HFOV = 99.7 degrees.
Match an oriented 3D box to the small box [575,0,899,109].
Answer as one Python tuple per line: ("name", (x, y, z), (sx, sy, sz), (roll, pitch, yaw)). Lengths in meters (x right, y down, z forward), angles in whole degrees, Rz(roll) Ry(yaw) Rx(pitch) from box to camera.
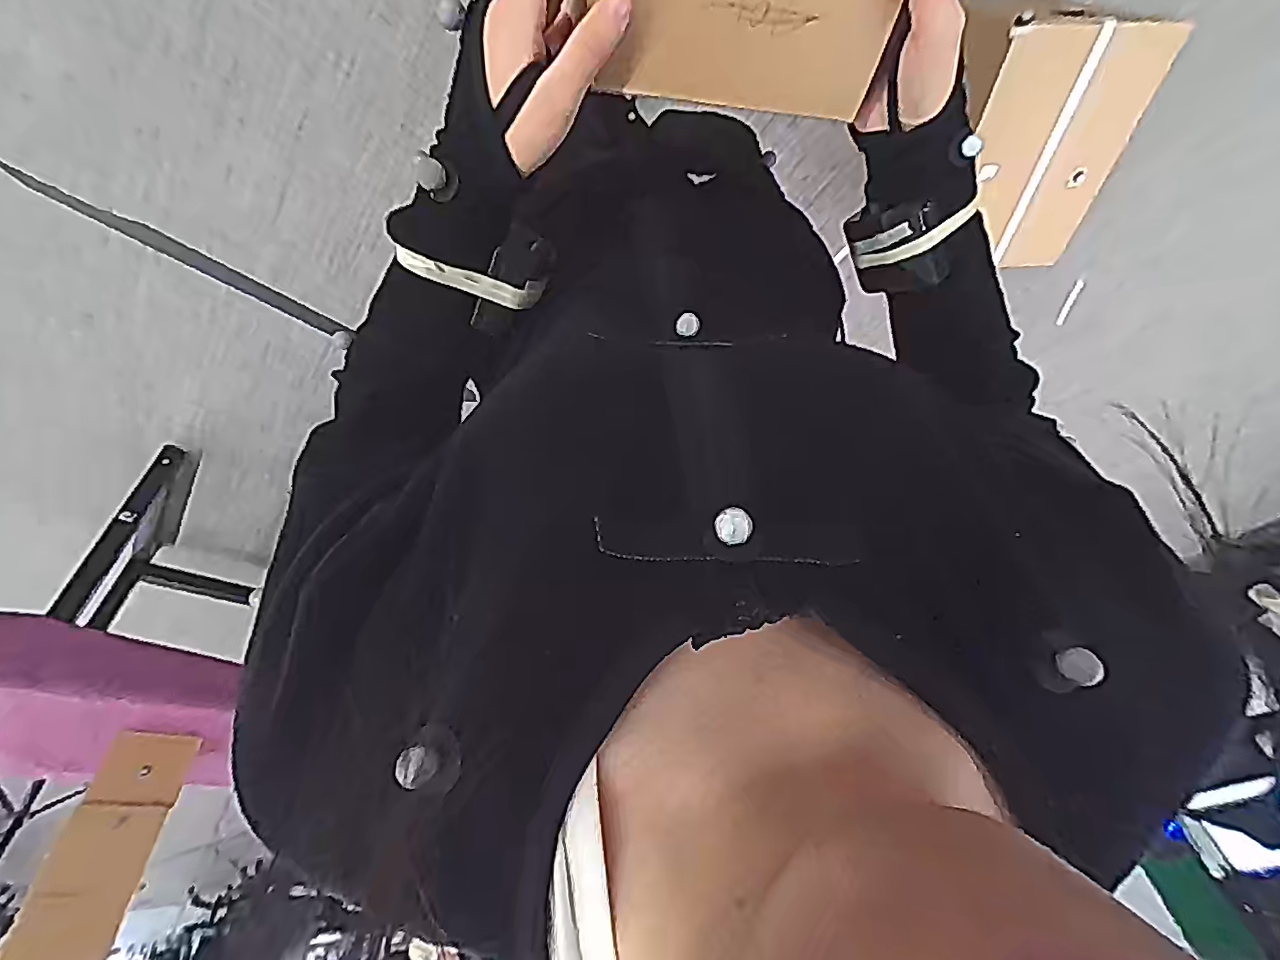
("small box", (0.051, -0.340, 0.294), (0.168, 0.176, 0.179), (-3, 143, -14))

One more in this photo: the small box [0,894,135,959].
("small box", (-1.205, 0.980, 1.130), (0.179, 0.176, 0.168), (22, 129, -29))

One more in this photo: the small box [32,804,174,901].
("small box", (-1.219, 0.856, 1.237), (0.179, 0.176, 0.168), (22, 130, -28))
